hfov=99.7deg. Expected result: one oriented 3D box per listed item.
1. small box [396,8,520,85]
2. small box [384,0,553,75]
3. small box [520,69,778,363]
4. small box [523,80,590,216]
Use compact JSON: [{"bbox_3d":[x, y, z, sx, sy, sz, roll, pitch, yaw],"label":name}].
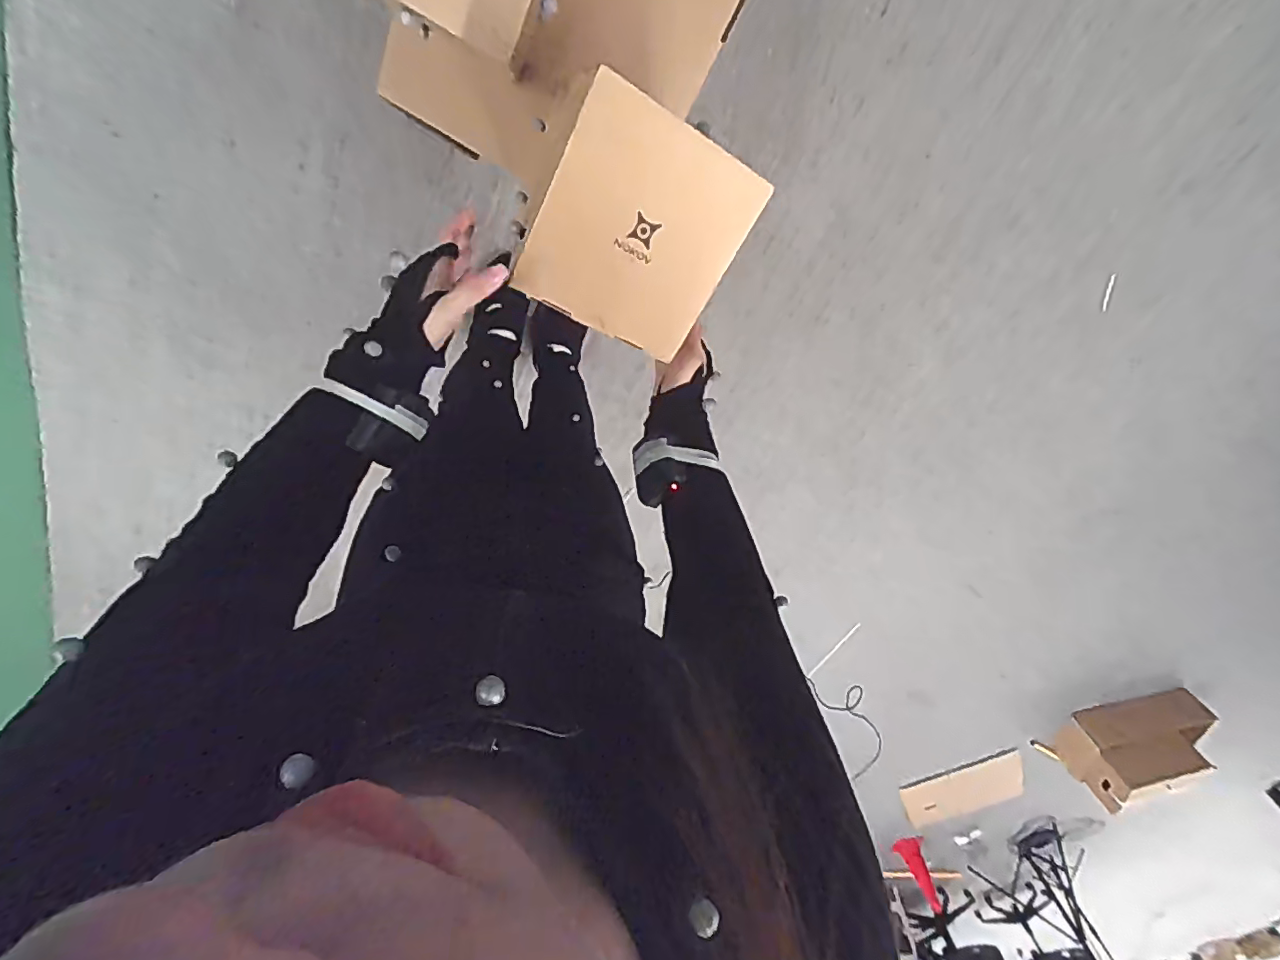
[{"bbox_3d":[-0.194,-0.609,0.639,0.168,0.176,0.179,21,116,-22],"label":"small box"},{"bbox_3d":[-0.166,-0.514,0.505,0.179,0.176,0.168,20,118,-21],"label":"small box"},{"bbox_3d":[-0.007,-0.248,0.519,0.168,0.176,0.179,21,118,-22],"label":"small box"},{"bbox_3d":[-0.058,-0.439,0.779,0.179,0.176,0.168,19,118,-22],"label":"small box"}]
